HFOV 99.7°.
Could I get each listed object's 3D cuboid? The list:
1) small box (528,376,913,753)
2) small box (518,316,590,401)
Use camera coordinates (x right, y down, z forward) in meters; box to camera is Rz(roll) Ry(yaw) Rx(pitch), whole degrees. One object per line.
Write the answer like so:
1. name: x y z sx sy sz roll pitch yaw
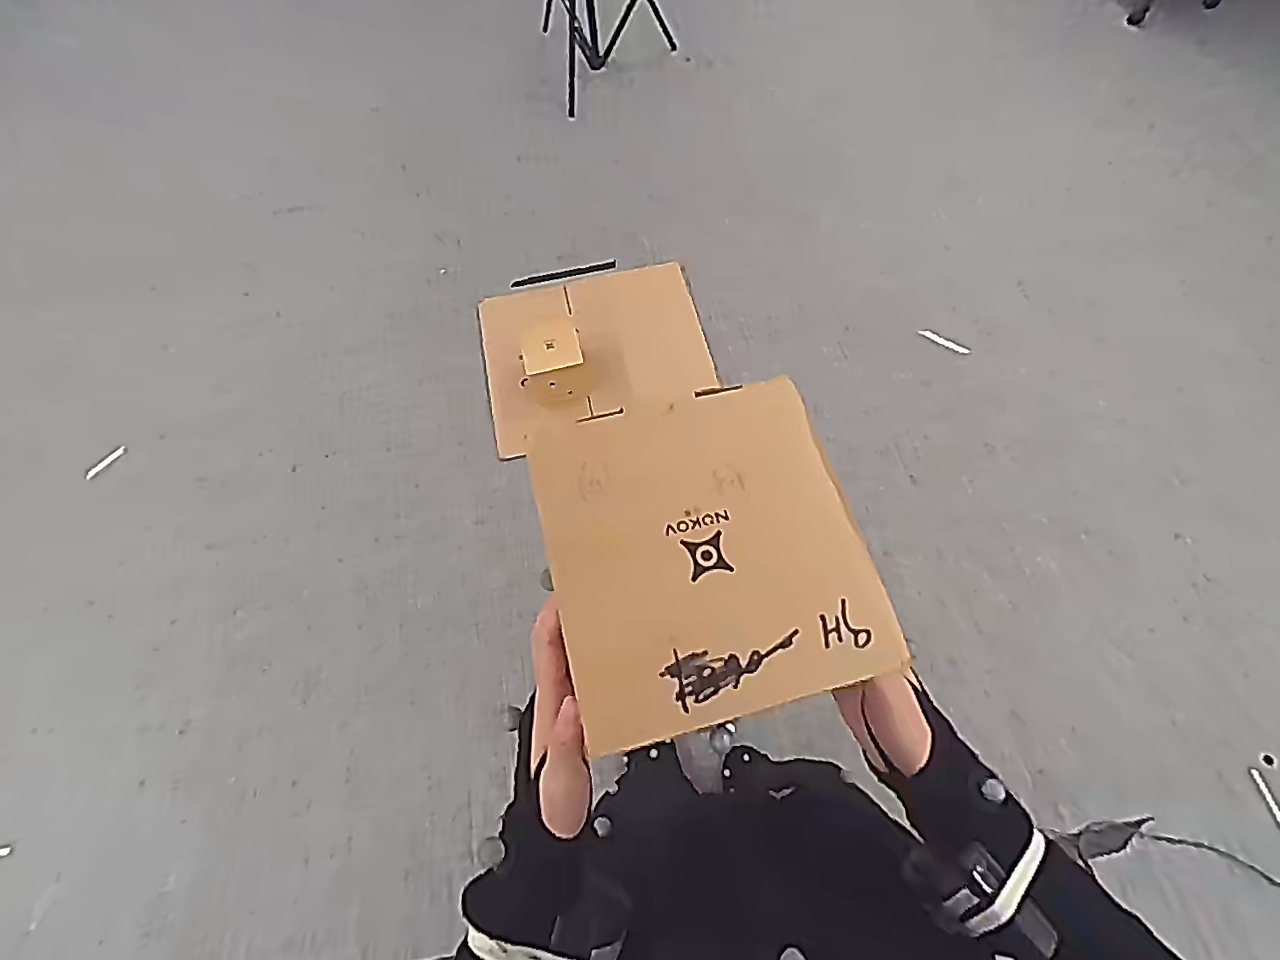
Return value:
1. small box: 0.033 0.062 0.357 0.168 0.176 0.179 -13 68 -5
2. small box: -0.252 -0.352 1.609 0.168 0.176 0.179 -14 68 -4
